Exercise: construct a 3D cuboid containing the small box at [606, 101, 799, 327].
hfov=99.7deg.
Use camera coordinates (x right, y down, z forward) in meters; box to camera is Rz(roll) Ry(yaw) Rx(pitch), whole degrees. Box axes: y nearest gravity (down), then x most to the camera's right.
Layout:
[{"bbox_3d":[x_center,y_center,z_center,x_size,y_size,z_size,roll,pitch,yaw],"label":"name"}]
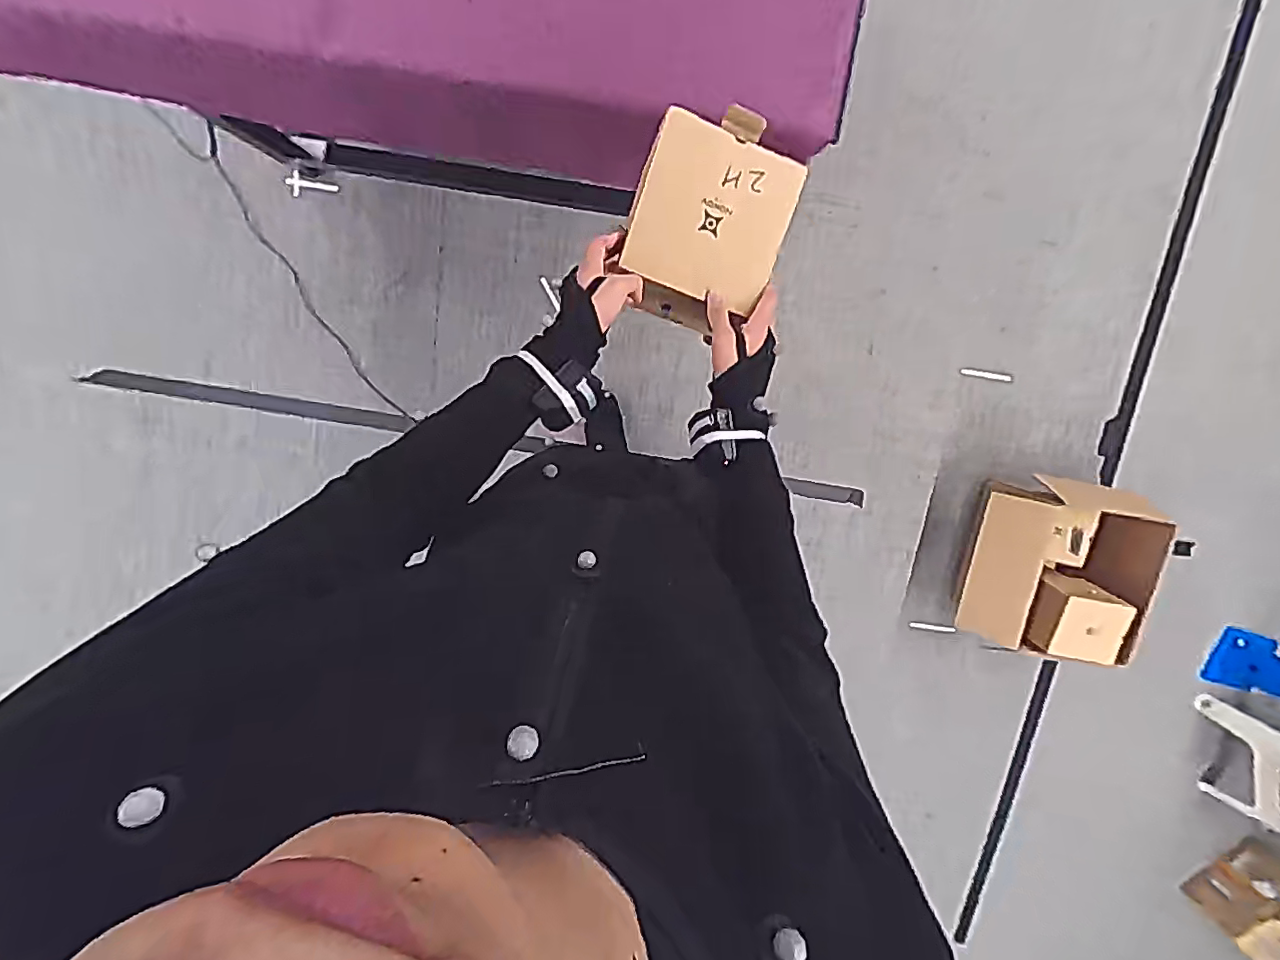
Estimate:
[{"bbox_3d":[0.061,-0.302,0.663,0.168,0.176,0.179,17,95,-12],"label":"small box"}]
